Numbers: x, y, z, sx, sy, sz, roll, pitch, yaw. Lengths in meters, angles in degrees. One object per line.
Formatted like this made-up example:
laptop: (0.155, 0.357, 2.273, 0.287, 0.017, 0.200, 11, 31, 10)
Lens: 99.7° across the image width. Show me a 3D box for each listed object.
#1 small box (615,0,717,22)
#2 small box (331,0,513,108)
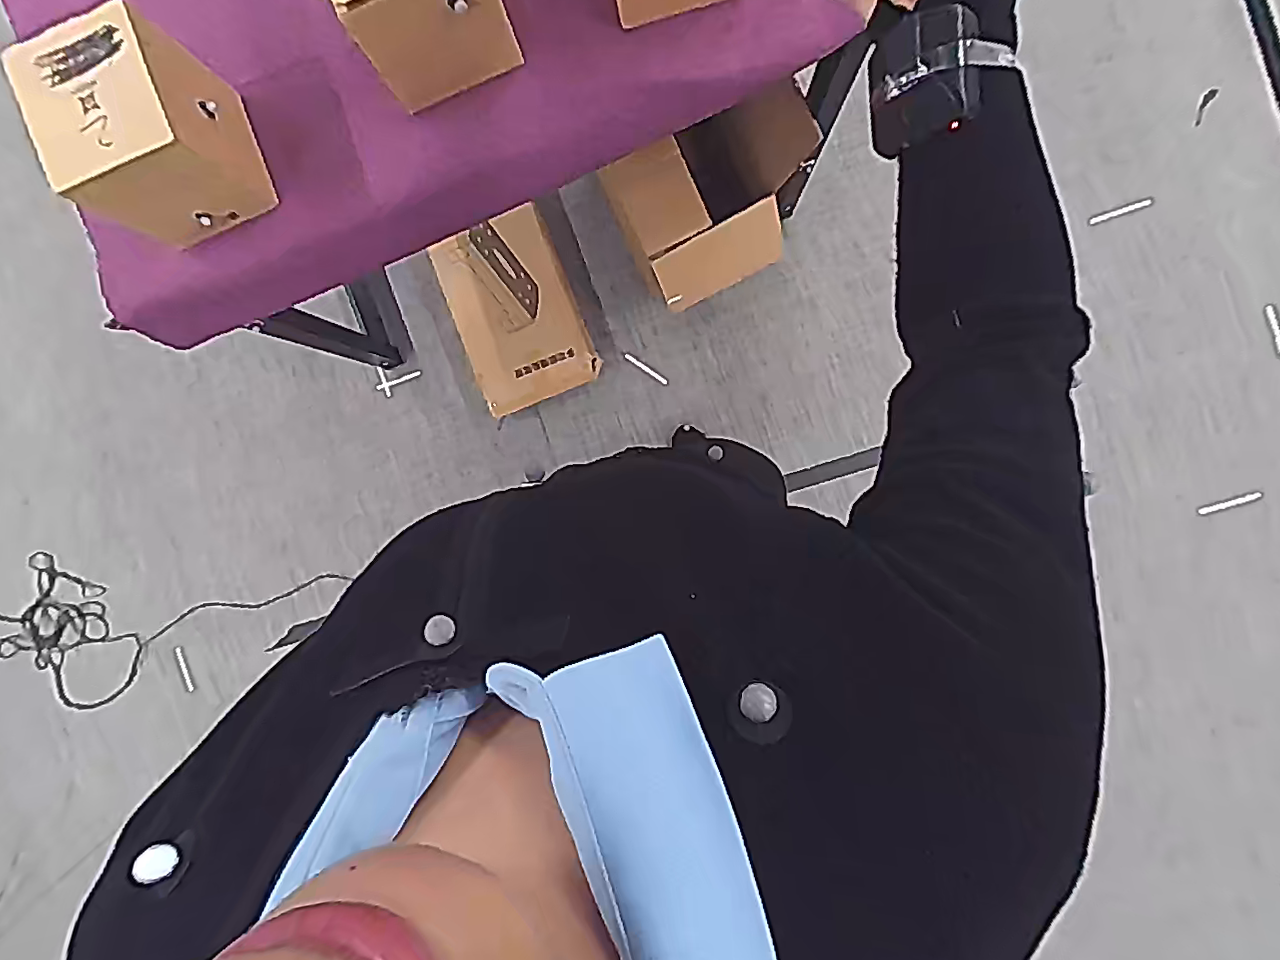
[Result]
small box: (0.034, -0.701, 0.640, 0.179, 0.176, 0.168, -13, 92, 4)
small box: (-0.271, -0.612, 0.663, 0.179, 0.176, 0.168, -21, 89, 5)
